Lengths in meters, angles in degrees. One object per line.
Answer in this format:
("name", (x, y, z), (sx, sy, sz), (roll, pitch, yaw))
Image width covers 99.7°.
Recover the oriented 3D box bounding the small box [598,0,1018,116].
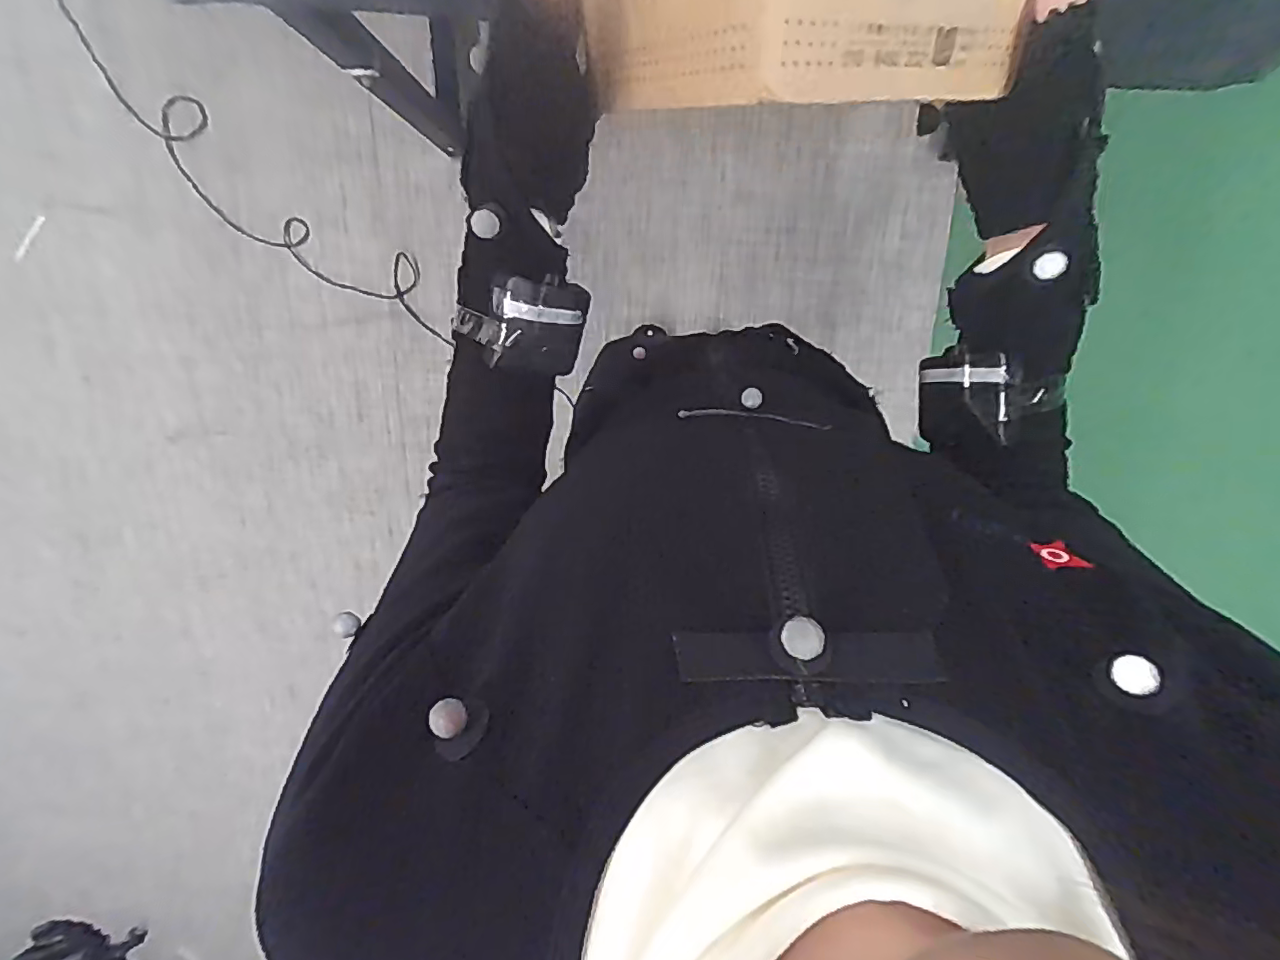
("small box", (0.080, -0.293, 0.281), (0.168, 0.179, 0.176), (-18, 128, -23))
